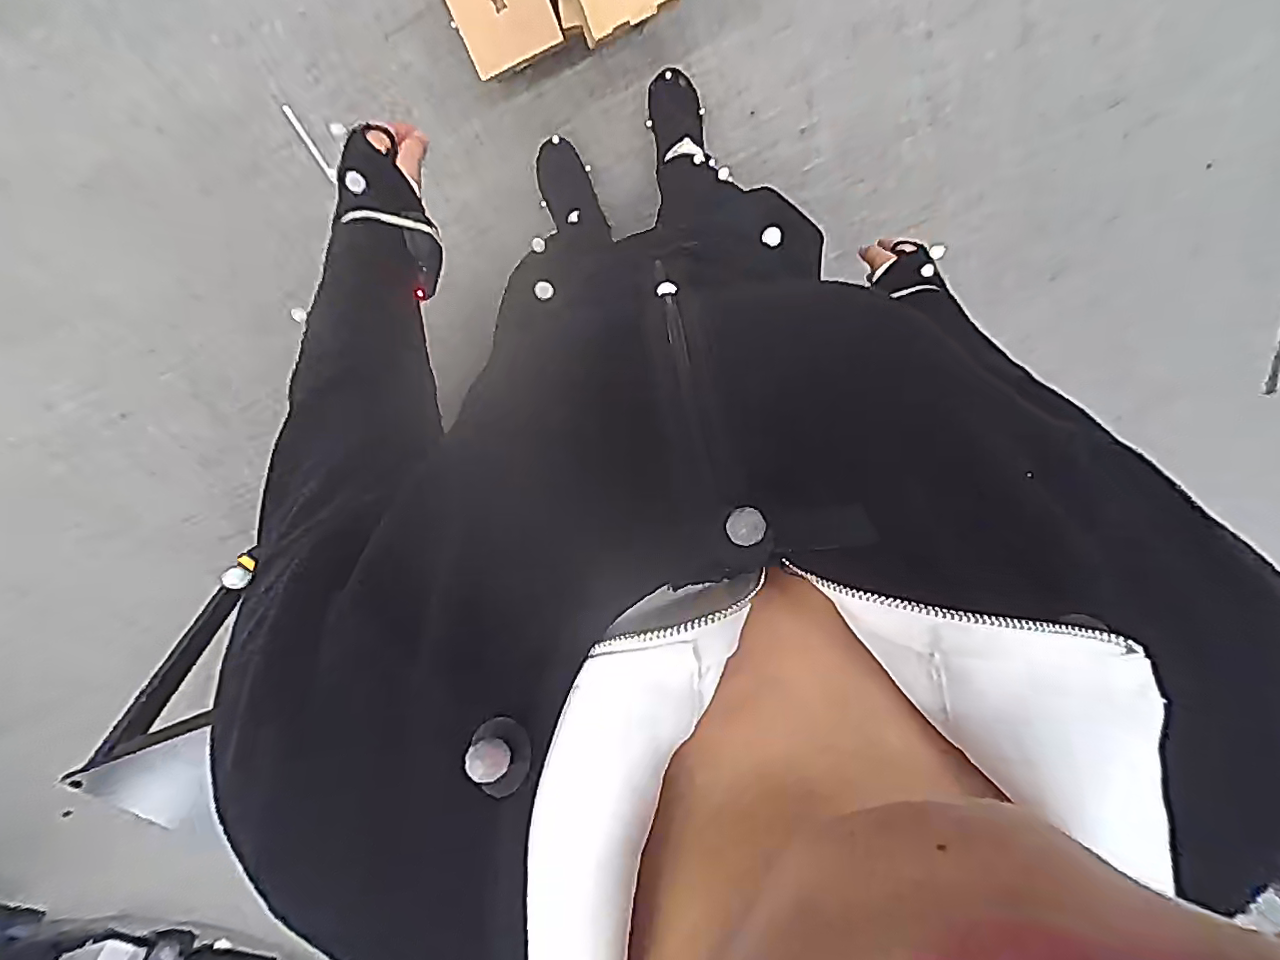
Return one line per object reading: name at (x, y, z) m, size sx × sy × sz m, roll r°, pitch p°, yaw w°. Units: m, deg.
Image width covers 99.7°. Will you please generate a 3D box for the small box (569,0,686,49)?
small box at (-0.040, -0.811, 0.845) m, size 0.168 × 0.176 × 0.179 m, roll -22°, pitch 125°, yaw 8°
